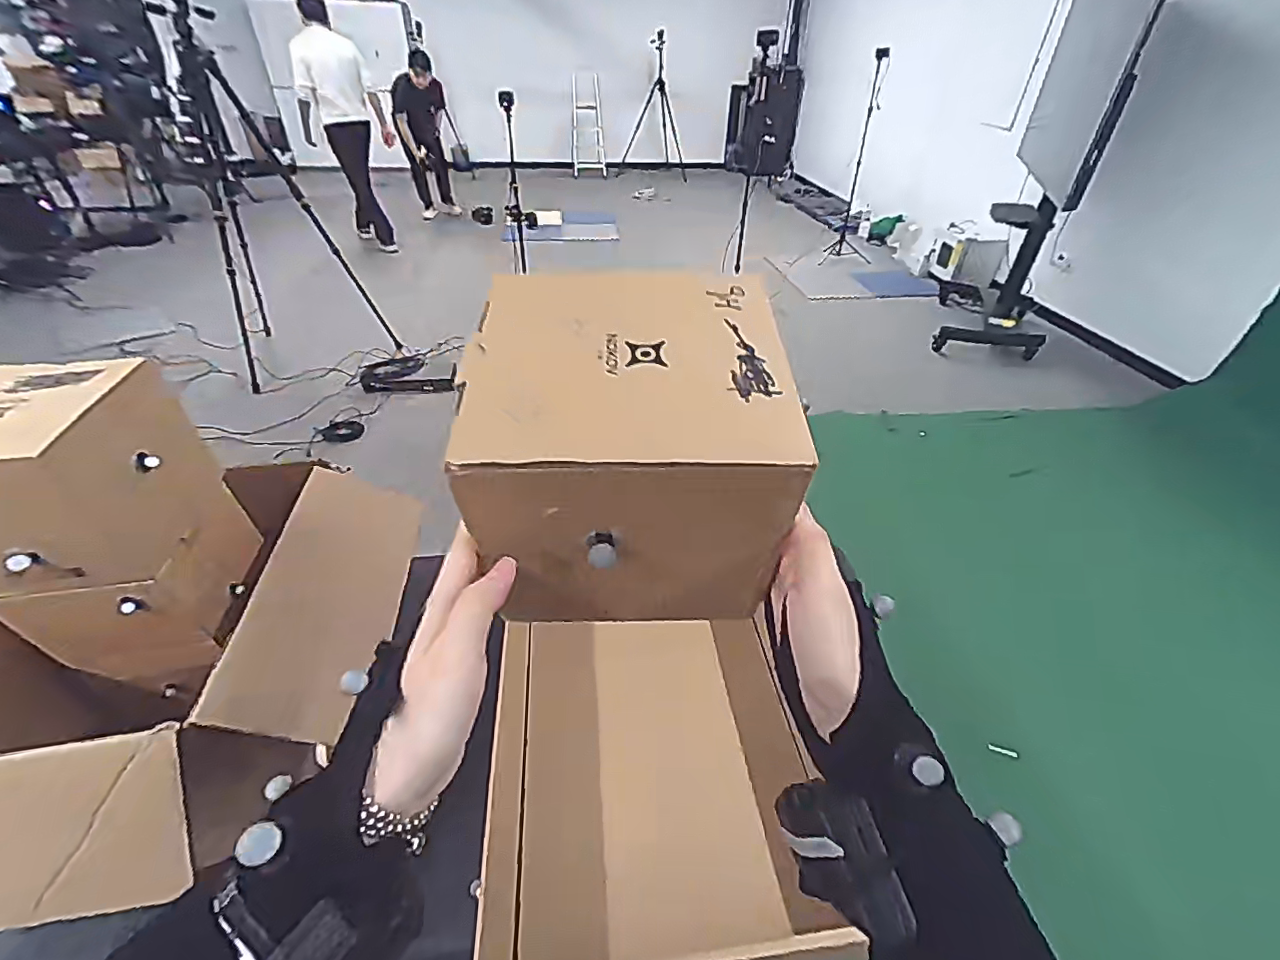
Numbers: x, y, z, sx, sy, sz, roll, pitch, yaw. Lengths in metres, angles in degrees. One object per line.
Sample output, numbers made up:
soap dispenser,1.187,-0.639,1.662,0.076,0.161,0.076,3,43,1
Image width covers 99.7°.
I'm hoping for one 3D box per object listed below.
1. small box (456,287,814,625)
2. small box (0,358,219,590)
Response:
small box,-0.003,-0.011,0.368,0.179,0.176,0.168,-1,51,-1
small box,-0.594,-0.009,0.569,0.168,0.176,0.179,-5,43,-5
